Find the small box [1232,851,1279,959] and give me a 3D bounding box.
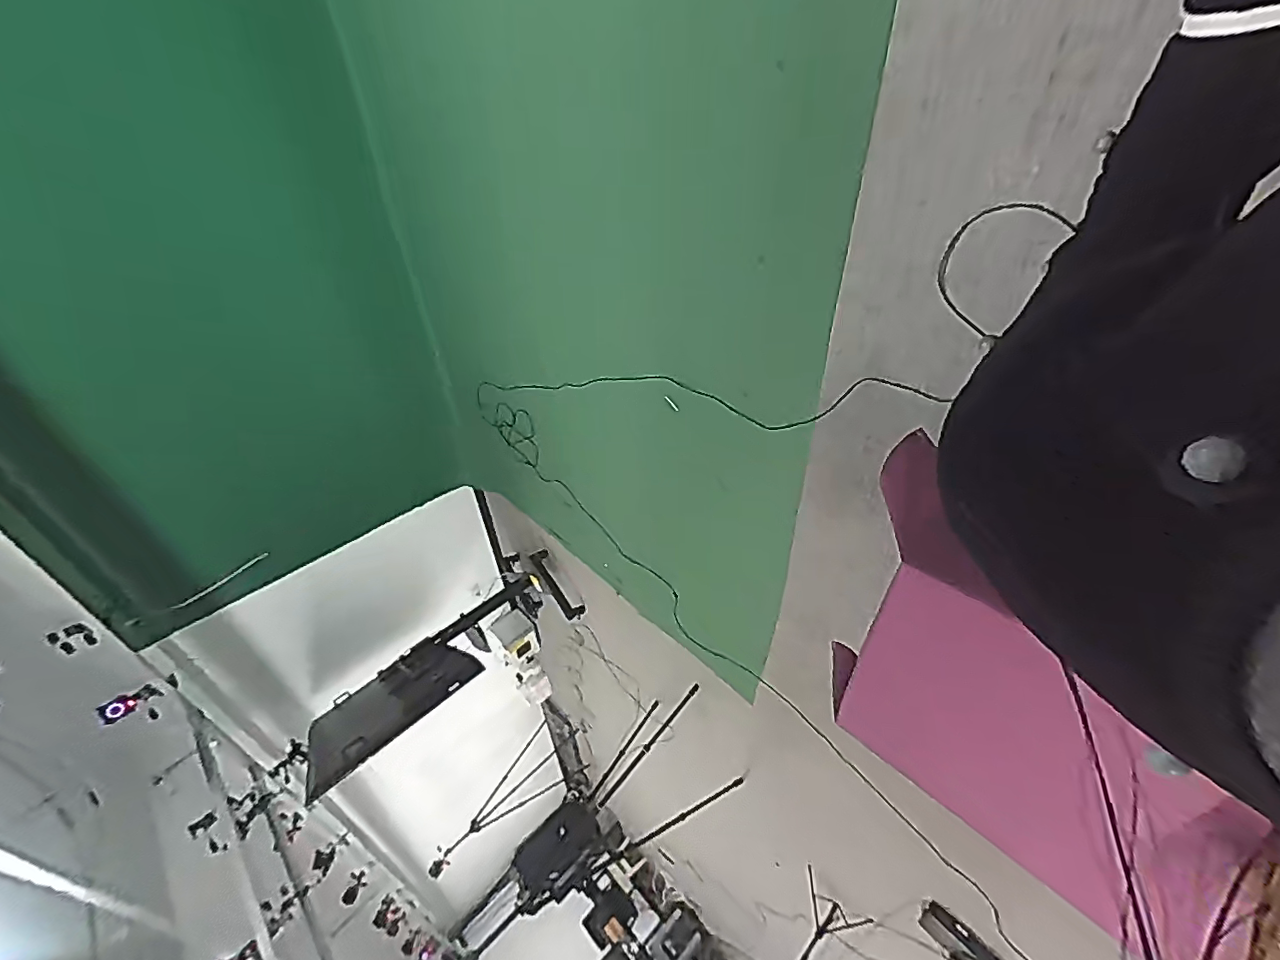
[{"bbox_3d":[0.879,0.576,0.643,0.179,0.176,0.168,32,141,36],"label":"small box"}]
